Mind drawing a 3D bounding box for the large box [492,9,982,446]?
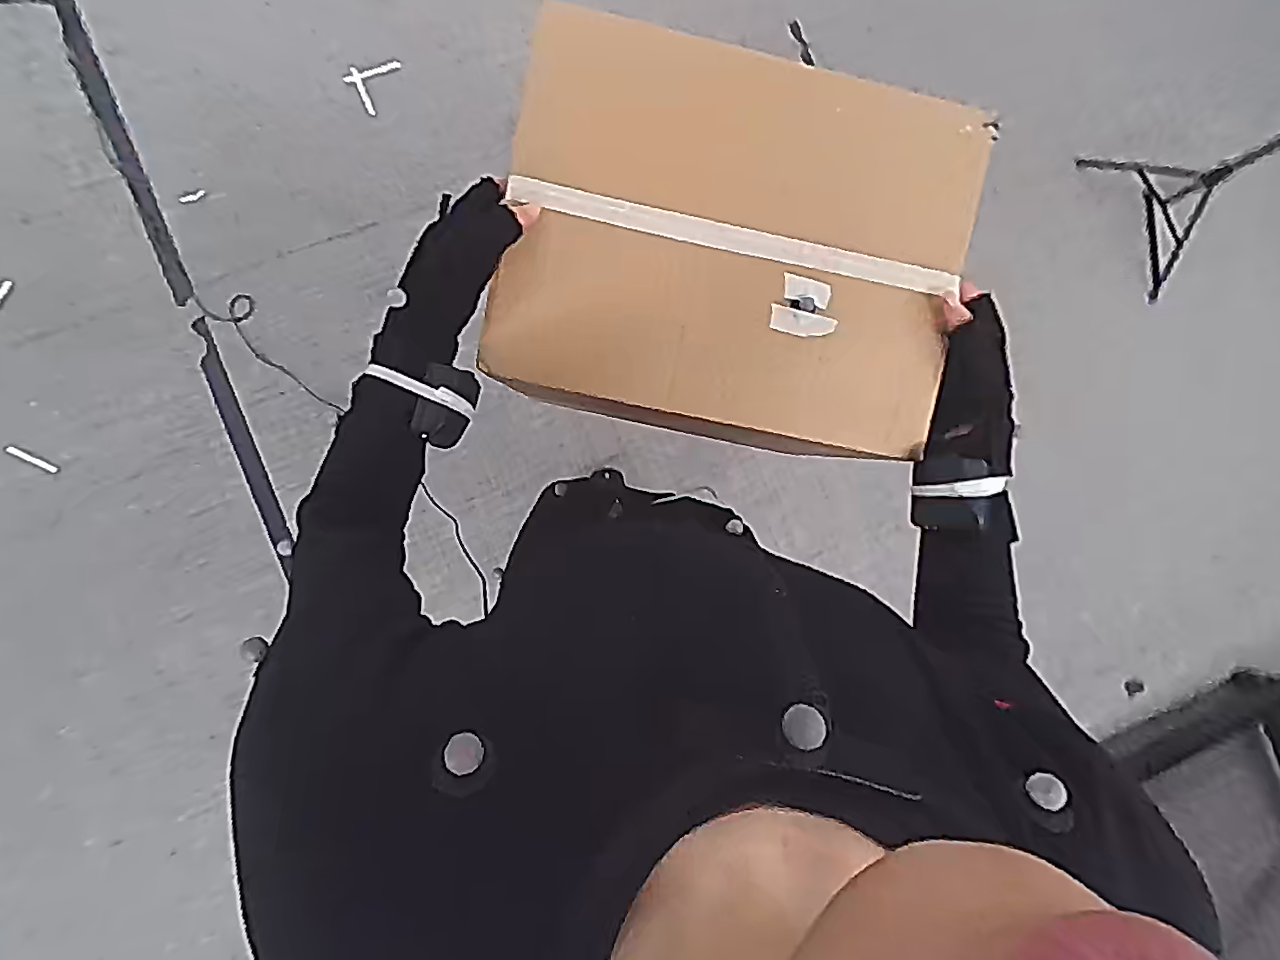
[{"bbox_3d":[0.078,-0.228,0.631,0.408,0.320,0.320,12,94,-5],"label":"large box"}]
